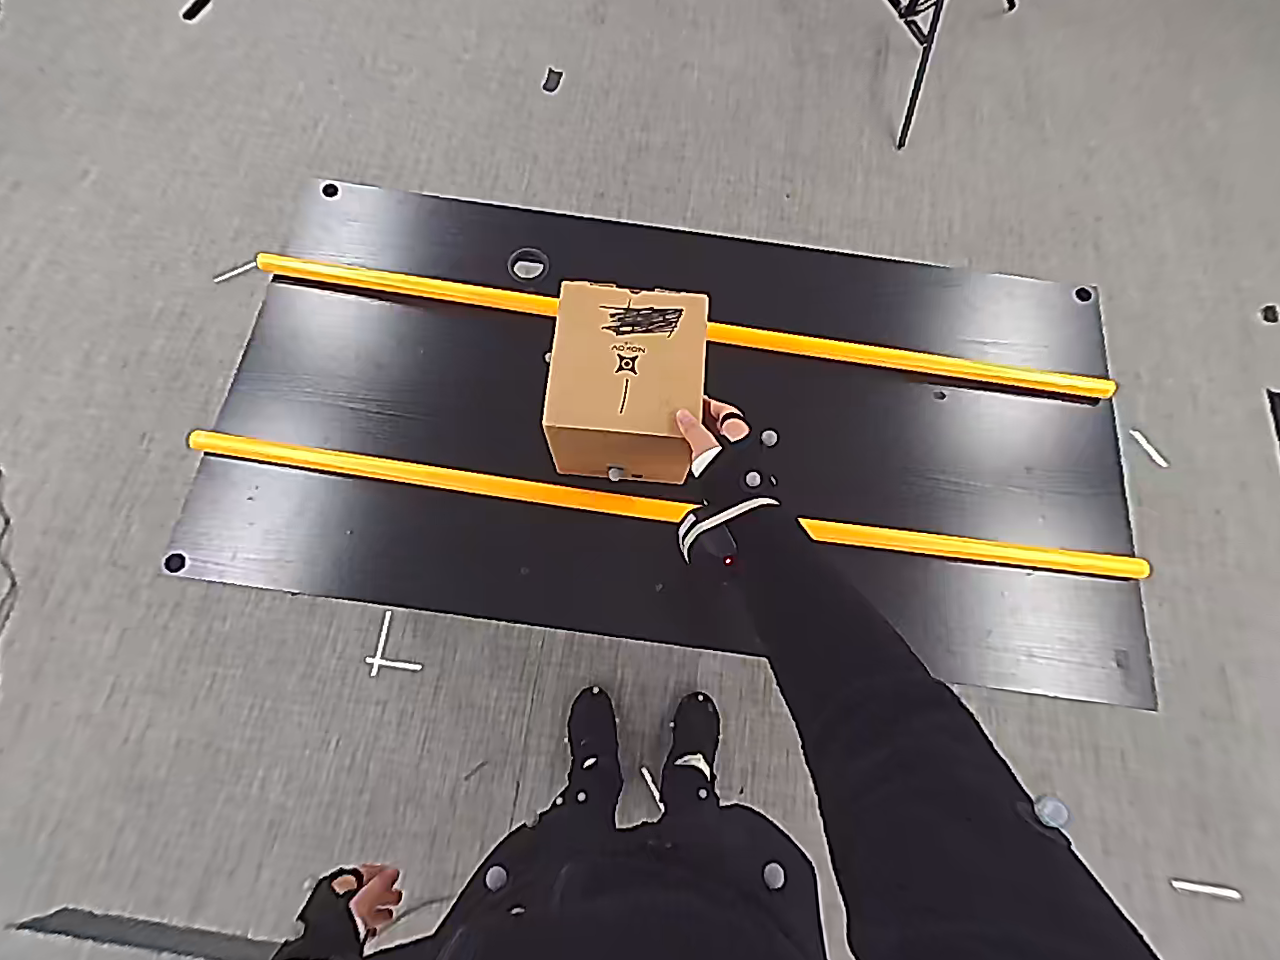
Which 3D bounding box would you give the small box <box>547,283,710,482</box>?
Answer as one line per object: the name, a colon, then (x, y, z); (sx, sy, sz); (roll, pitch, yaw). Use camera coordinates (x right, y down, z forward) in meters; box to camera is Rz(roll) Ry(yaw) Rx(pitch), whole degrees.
small box: (-0.013, -0.109, 0.661); (0.168, 0.176, 0.179); (5, 74, -1)
